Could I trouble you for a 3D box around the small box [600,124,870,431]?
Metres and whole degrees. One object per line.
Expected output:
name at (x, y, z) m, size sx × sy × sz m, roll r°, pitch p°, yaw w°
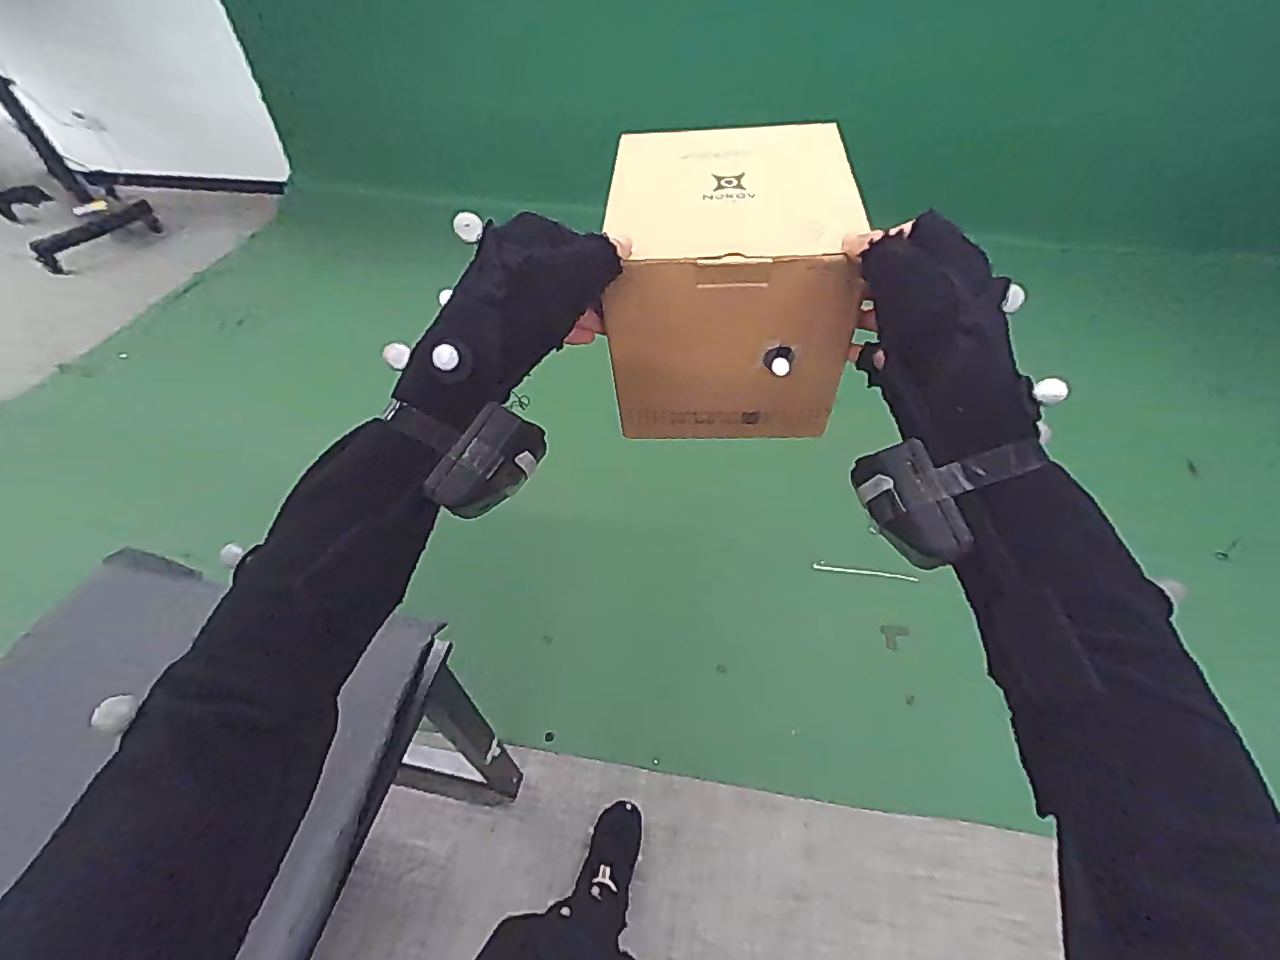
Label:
small box at (0.069, -0.154, 0.437) m, size 0.168 × 0.176 × 0.179 m, roll 1°, pitch 54°, yaw 6°
